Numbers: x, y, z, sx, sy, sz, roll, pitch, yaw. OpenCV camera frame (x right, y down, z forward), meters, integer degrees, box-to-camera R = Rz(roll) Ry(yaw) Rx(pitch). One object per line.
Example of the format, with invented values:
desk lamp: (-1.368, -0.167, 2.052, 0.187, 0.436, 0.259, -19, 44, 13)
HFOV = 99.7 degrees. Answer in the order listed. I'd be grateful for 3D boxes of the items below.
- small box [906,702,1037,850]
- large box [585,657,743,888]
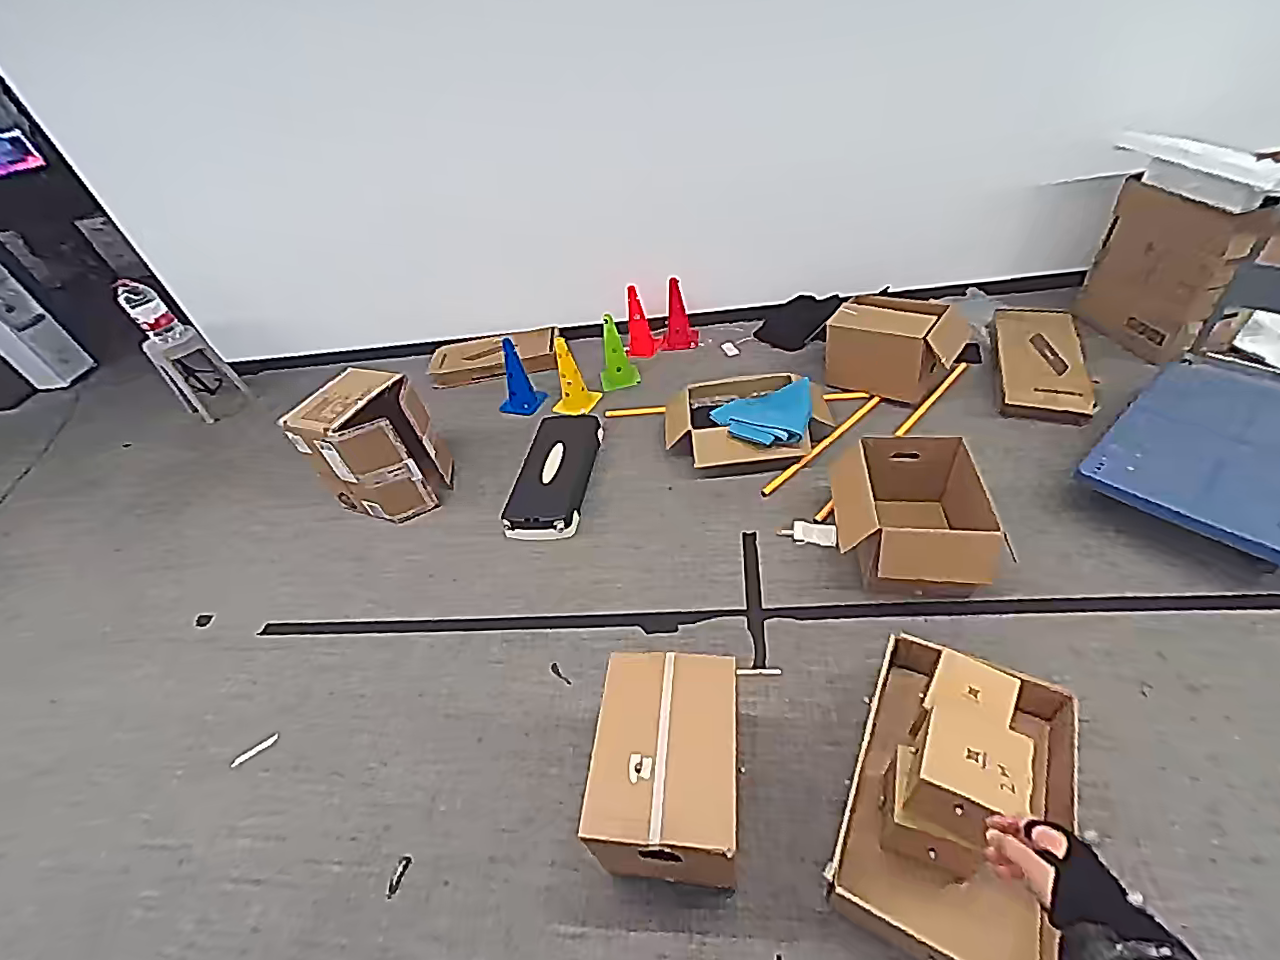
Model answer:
small box: (0.635, 0.575, 1.049, 0.179, 0.176, 0.168, 17, 47, 26)
large box: (0.080, 0.676, 1.275, 0.320, 0.320, 0.408, -2, 44, 11)
